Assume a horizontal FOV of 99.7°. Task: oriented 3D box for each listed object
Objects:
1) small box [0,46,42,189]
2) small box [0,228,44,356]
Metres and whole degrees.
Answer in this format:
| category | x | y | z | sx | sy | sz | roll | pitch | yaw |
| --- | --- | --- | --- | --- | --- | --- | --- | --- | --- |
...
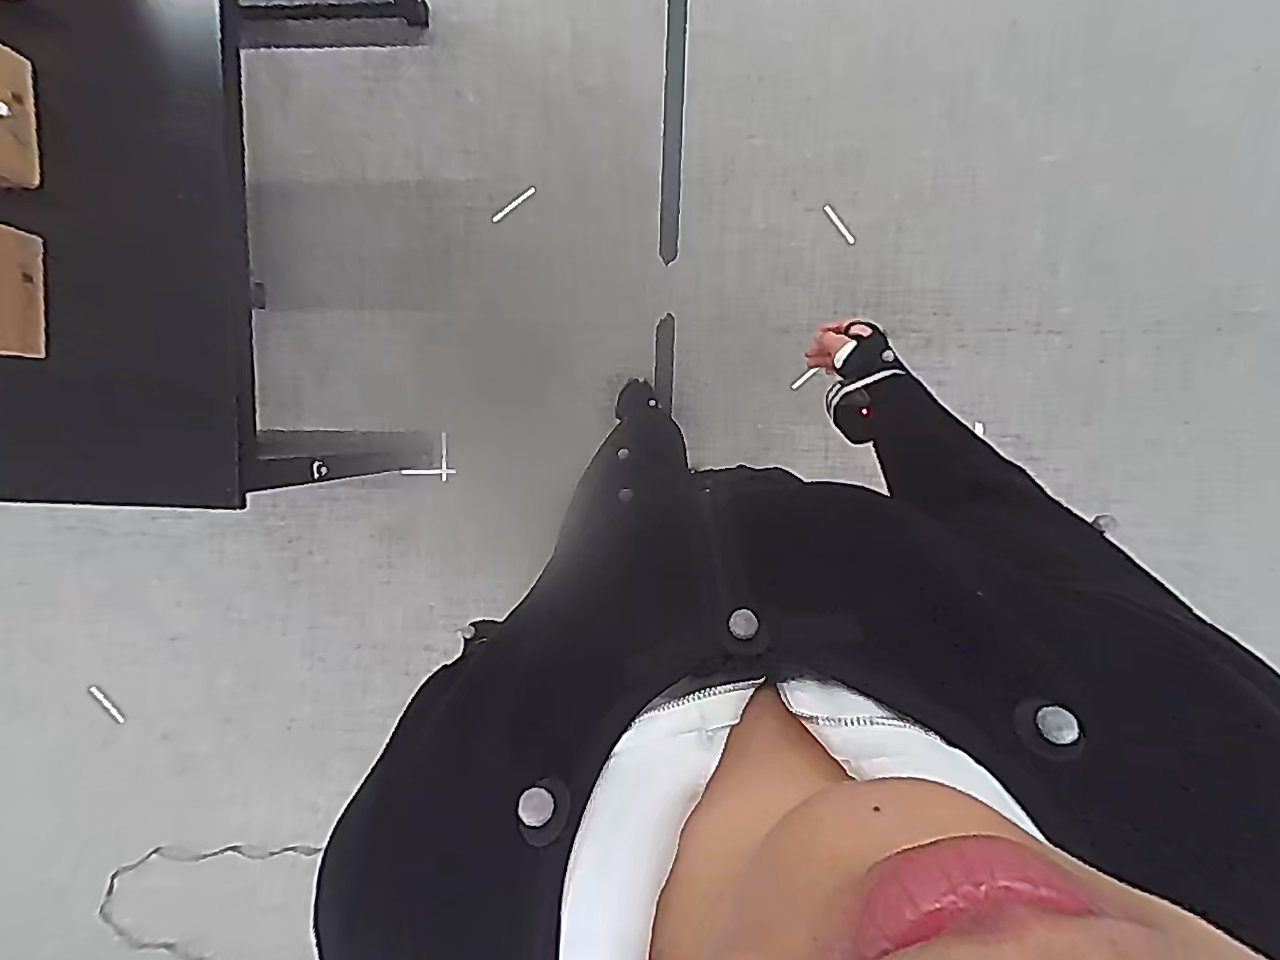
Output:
| category | x | y | z | sx | sy | sz | roll | pitch | yaw |
| --- | --- | --- | --- | --- | --- | --- | --- | --- | --- |
| small box | -0.908 | -0.476 | 0.660 | 0.179 | 0.176 | 0.168 | 1 | 95 | 1 |
| small box | -0.917 | -0.253 | 0.679 | 0.179 | 0.176 | 0.168 | 4 | 95 | 1 |
